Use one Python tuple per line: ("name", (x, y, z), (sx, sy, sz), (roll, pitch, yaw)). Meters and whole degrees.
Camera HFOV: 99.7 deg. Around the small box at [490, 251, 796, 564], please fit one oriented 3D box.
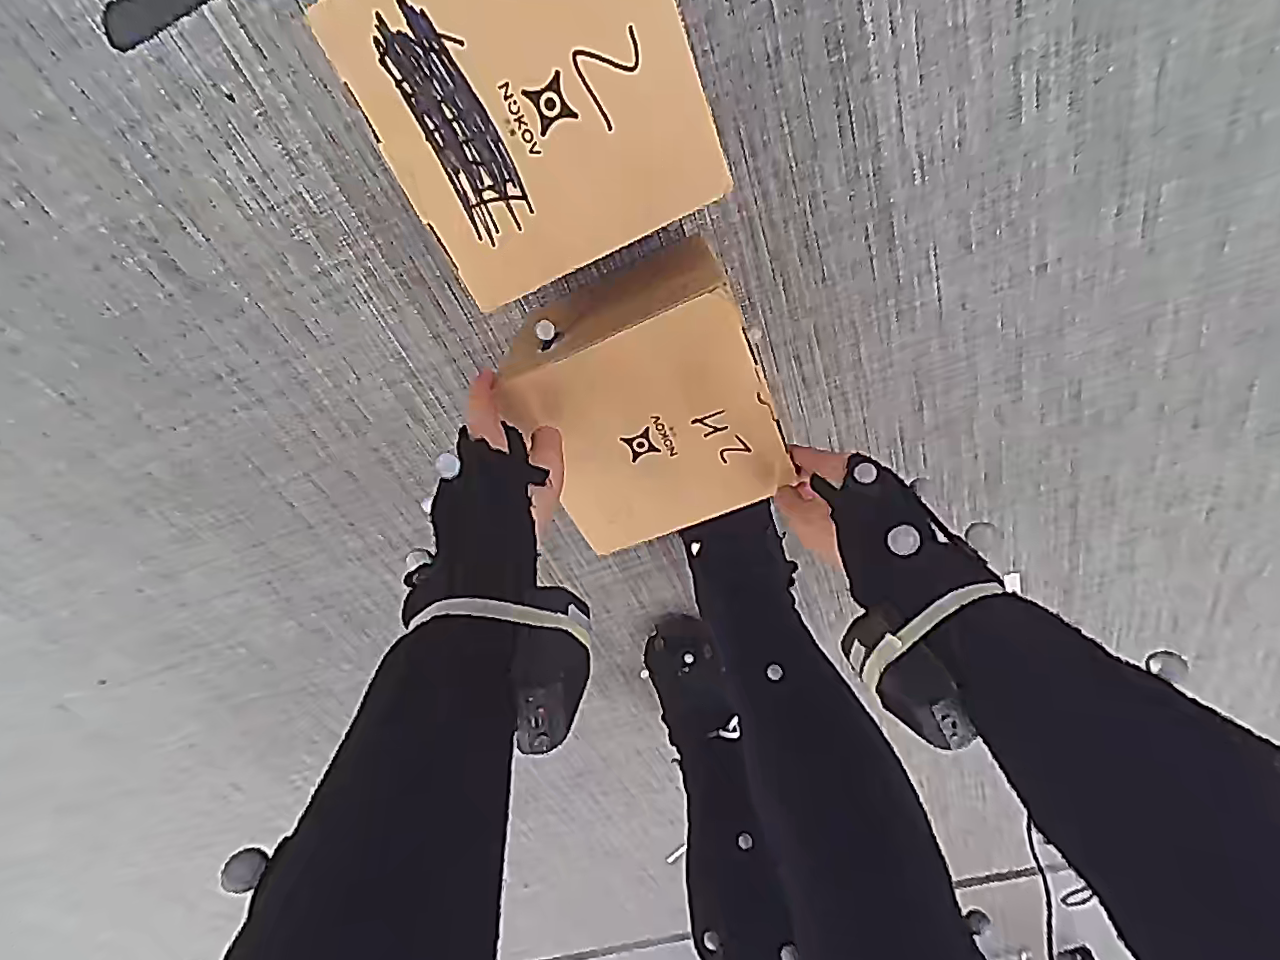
("small box", (0.008, -0.065, 0.453), (0.179, 0.176, 0.168), (-22, 122, 13))
